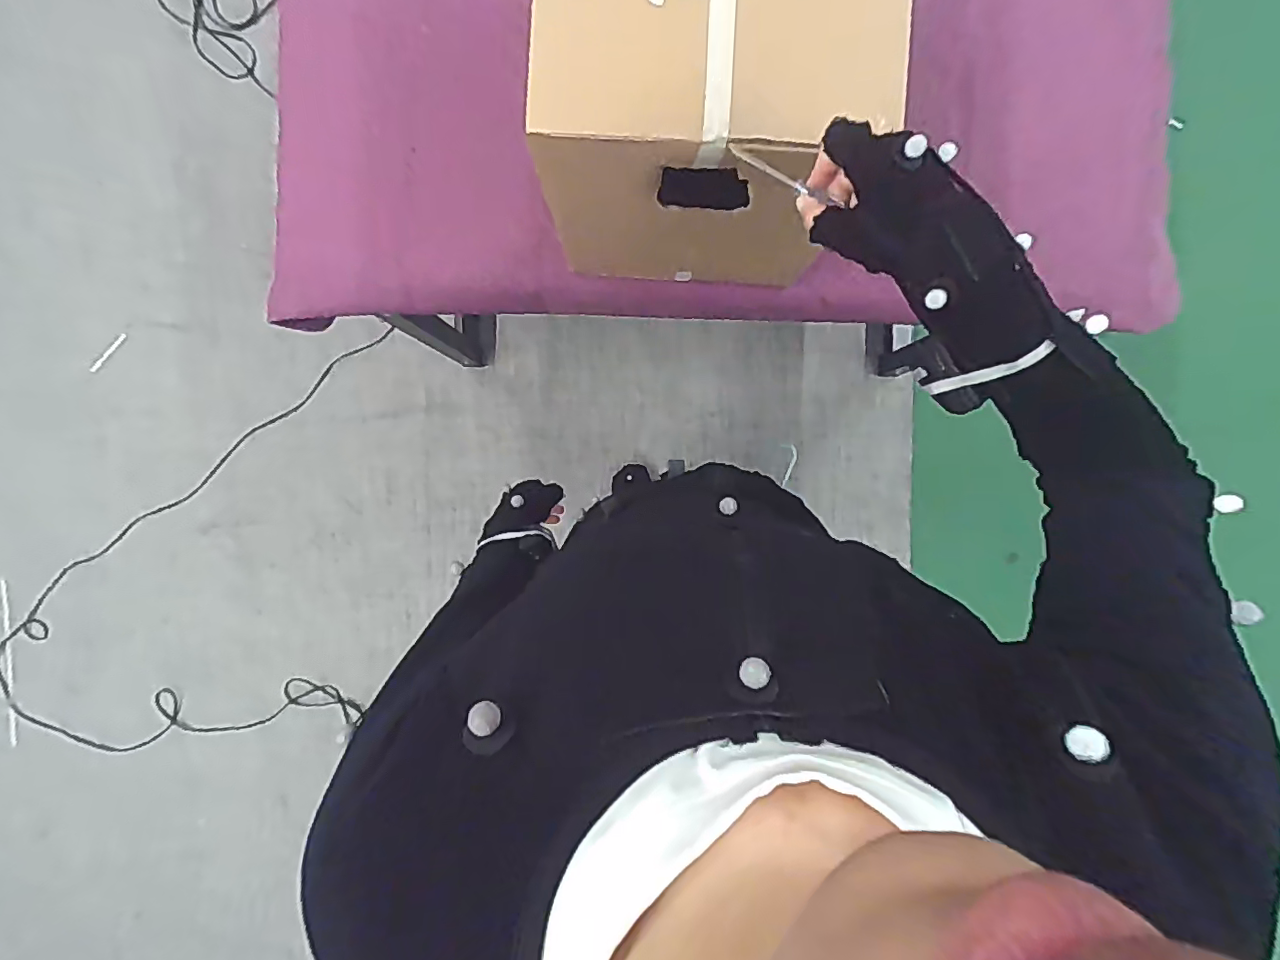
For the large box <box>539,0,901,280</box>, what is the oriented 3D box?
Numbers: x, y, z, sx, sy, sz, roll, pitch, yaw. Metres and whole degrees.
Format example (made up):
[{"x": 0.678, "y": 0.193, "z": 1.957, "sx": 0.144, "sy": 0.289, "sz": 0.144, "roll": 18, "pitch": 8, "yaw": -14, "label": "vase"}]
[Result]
[{"x": 0.072, "y": -0.484, "z": 0.607, "sx": 0.320, "sy": 0.320, "sz": 0.408, "roll": 3, "pitch": 91, "yaw": 0, "label": "large box"}]
